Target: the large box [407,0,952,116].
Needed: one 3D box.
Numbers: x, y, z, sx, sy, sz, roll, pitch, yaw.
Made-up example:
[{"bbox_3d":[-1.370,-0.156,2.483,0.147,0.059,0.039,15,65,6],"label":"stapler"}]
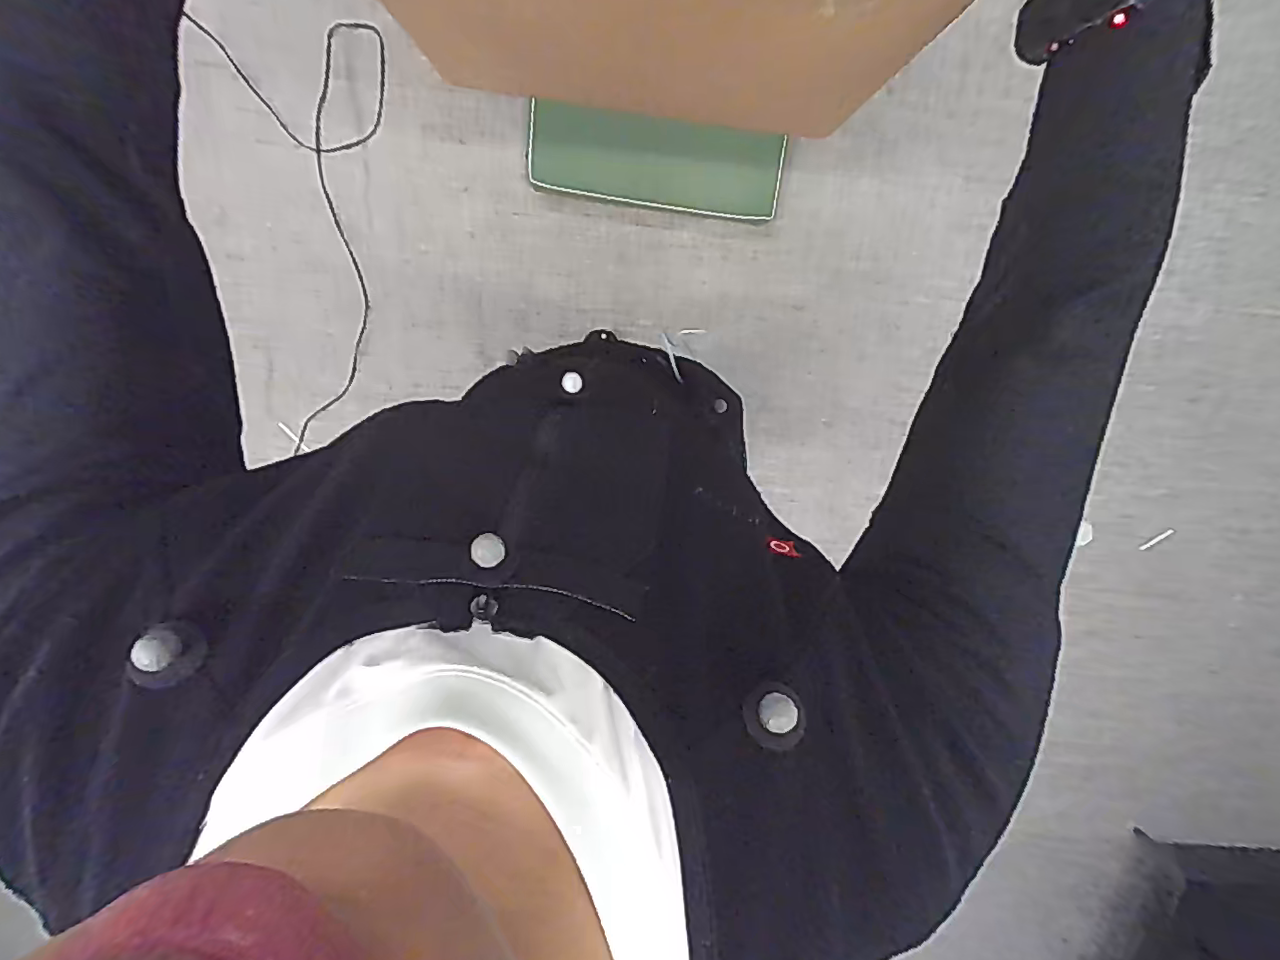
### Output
[{"bbox_3d":[0.025,-0.496,0.373,0.408,0.320,0.320,6,108,-3],"label":"large box"}]
